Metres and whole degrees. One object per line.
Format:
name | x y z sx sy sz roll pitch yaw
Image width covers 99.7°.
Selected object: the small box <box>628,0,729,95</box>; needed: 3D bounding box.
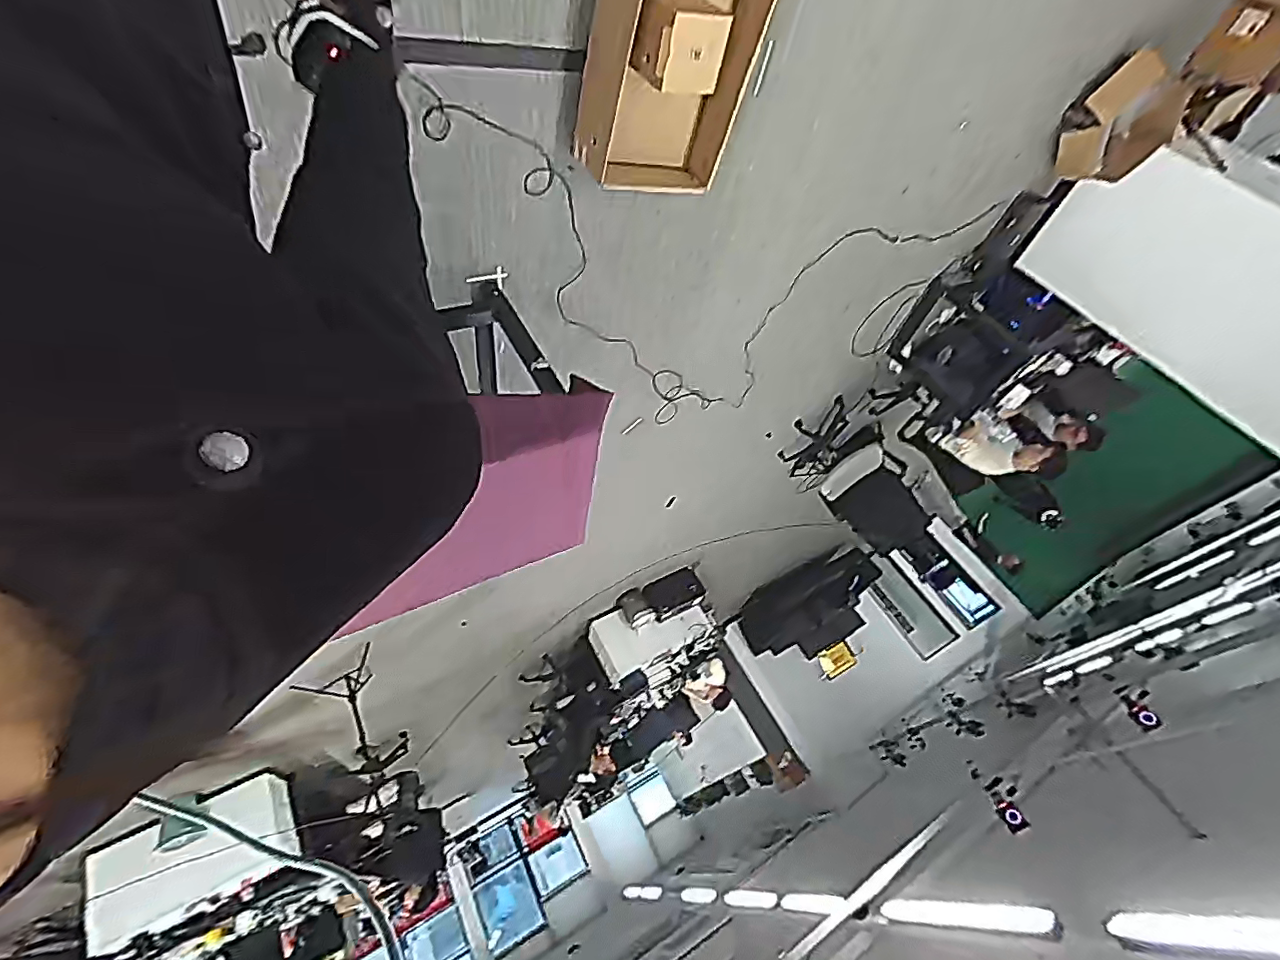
small box | 0.089 -1.114 1.379 0.179 0.176 0.168 -19 151 -26
